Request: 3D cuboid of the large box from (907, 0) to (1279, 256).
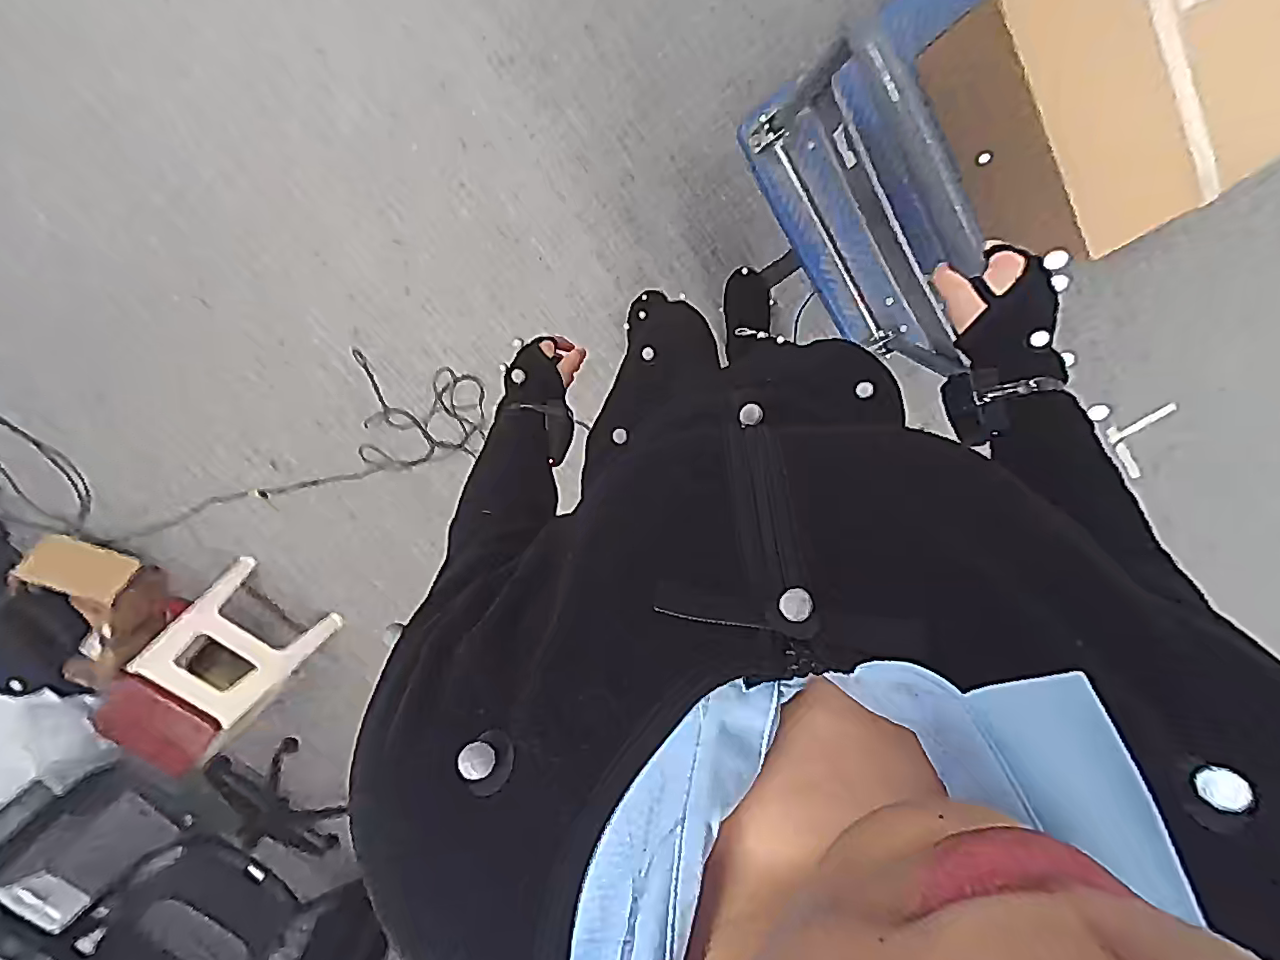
[{"bbox_3d":[0.713,-0.633,0.881,0.320,0.320,0.408,-31,106,17],"label":"large box"}]
